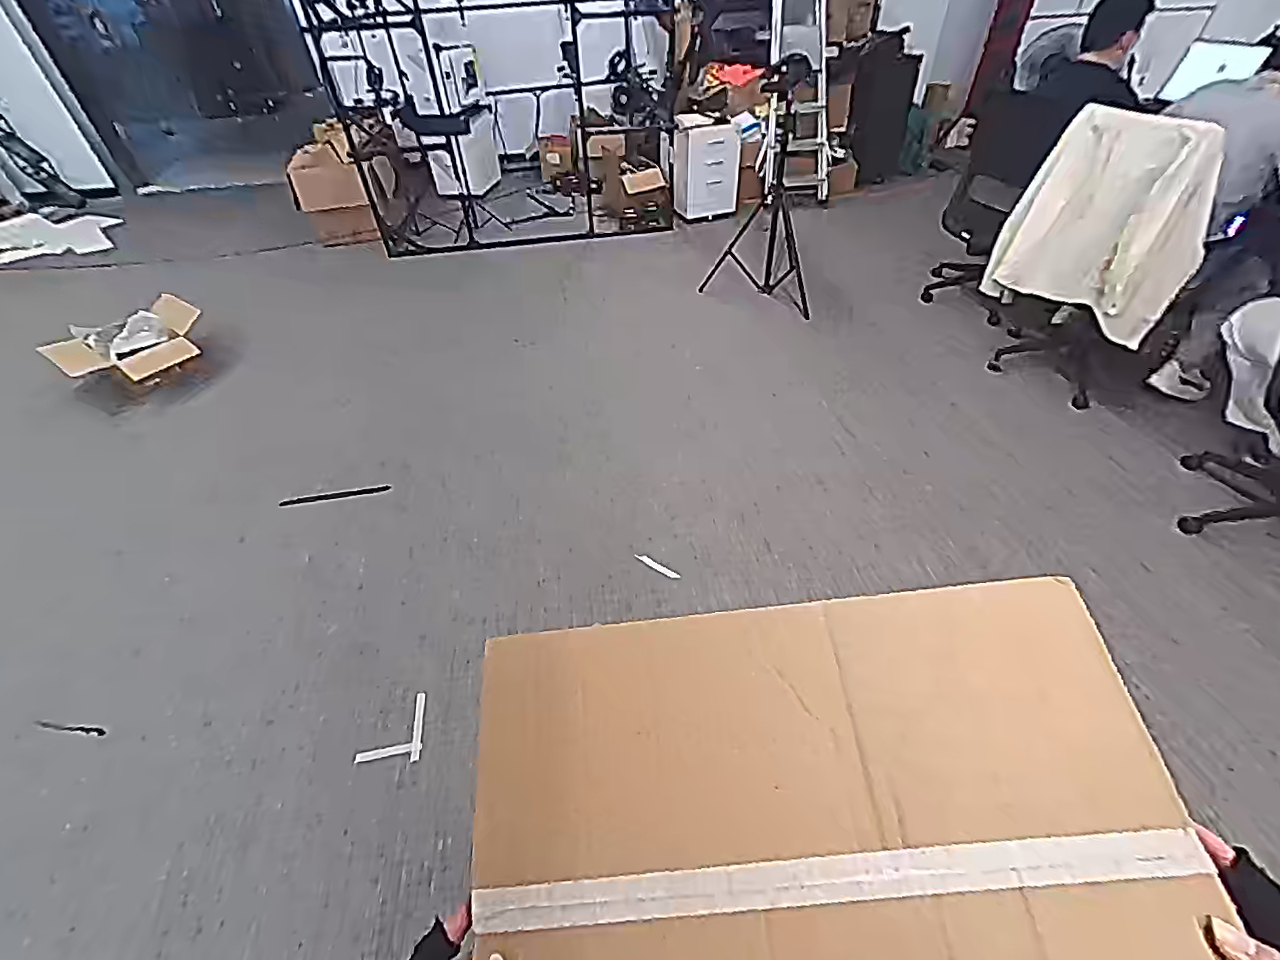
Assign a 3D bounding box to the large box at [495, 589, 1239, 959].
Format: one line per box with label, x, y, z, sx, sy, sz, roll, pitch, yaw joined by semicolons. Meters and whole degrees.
large box;0.125;0.307;0.442;0.408;0.320;0.320;-8;62;4
